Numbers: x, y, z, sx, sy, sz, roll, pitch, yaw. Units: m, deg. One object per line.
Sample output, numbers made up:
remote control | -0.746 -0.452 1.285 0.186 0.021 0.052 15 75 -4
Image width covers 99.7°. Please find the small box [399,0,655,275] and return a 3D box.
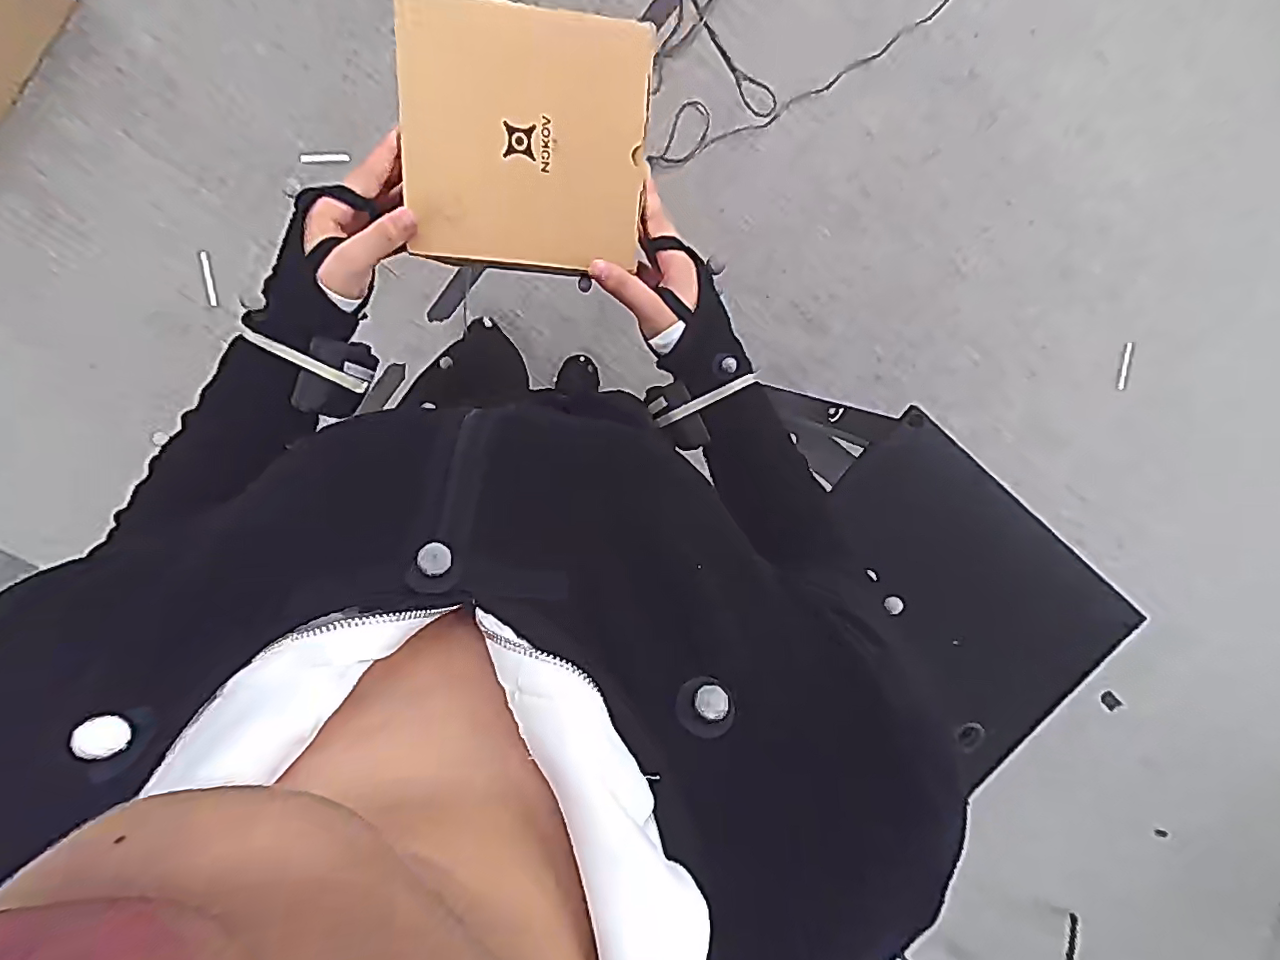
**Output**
small box | -0.092 -0.274 0.470 0.179 0.176 0.168 2 109 -9
